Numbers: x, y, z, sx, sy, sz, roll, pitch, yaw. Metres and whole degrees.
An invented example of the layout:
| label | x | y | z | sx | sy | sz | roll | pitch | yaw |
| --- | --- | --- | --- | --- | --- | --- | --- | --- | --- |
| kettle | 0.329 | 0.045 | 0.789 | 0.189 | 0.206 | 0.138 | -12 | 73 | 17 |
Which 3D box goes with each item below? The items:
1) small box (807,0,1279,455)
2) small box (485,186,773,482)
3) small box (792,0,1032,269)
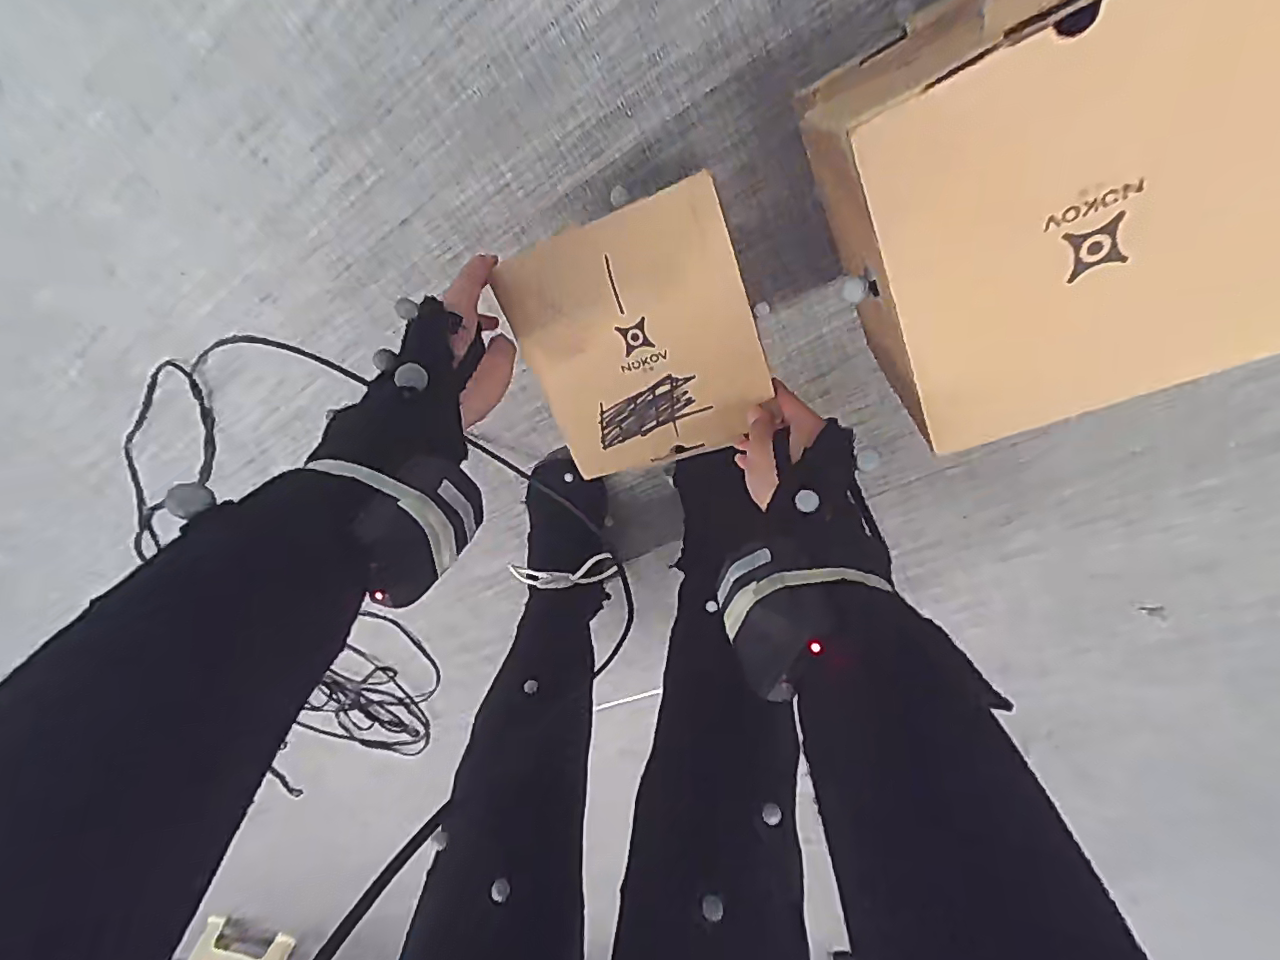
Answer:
| label | x | y | z | sx | sy | sz | roll | pitch | yaw |
| --- | --- | --- | --- | --- | --- | --- | --- | --- | --- |
| small box | 0.206 | -0.148 | 0.304 | 0.168 | 0.176 | 0.179 | -20 | 118 | 21 |
| small box | 0.007 | -0.128 | 0.456 | 0.168 | 0.176 | 0.179 | -16 | 115 | 15 |
| small box | 0.231 | -0.252 | 0.429 | 0.168 | 0.176 | 0.179 | -20 | 117 | 21 |
